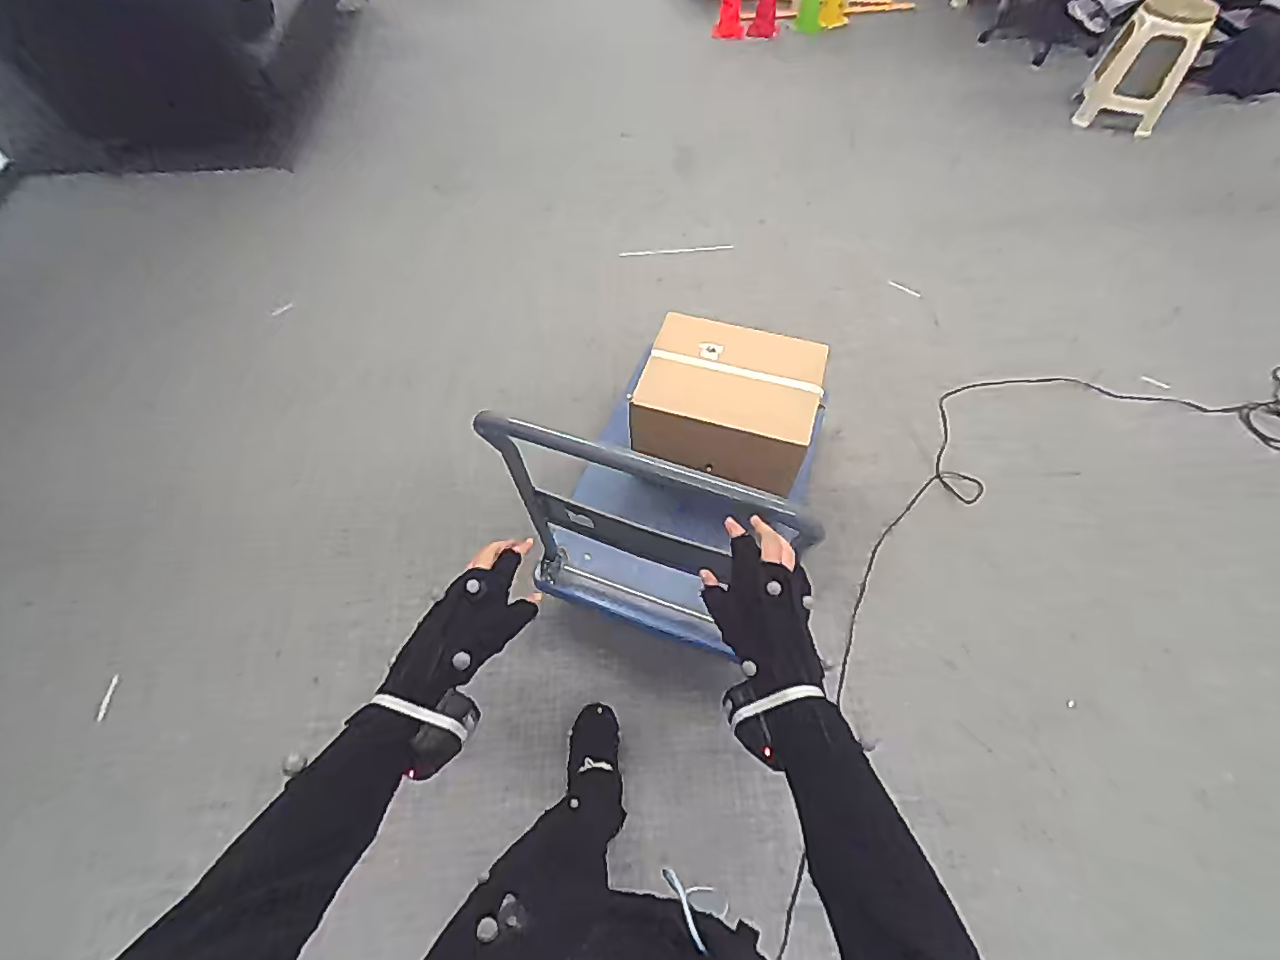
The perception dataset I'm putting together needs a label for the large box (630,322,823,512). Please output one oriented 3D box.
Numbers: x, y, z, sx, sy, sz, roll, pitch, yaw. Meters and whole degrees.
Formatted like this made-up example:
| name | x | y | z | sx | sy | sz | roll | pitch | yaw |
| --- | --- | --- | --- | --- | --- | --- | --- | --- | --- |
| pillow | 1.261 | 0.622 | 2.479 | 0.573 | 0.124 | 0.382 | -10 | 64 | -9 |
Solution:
| name | x | y | z | sx | sy | sz | roll | pitch | yaw |
| --- | --- | --- | --- | --- | --- | --- | --- | --- | --- |
| large box | 0.217 | -0.156 | 1.388 | 0.408 | 0.320 | 0.320 | 14 | 59 | 11 |
